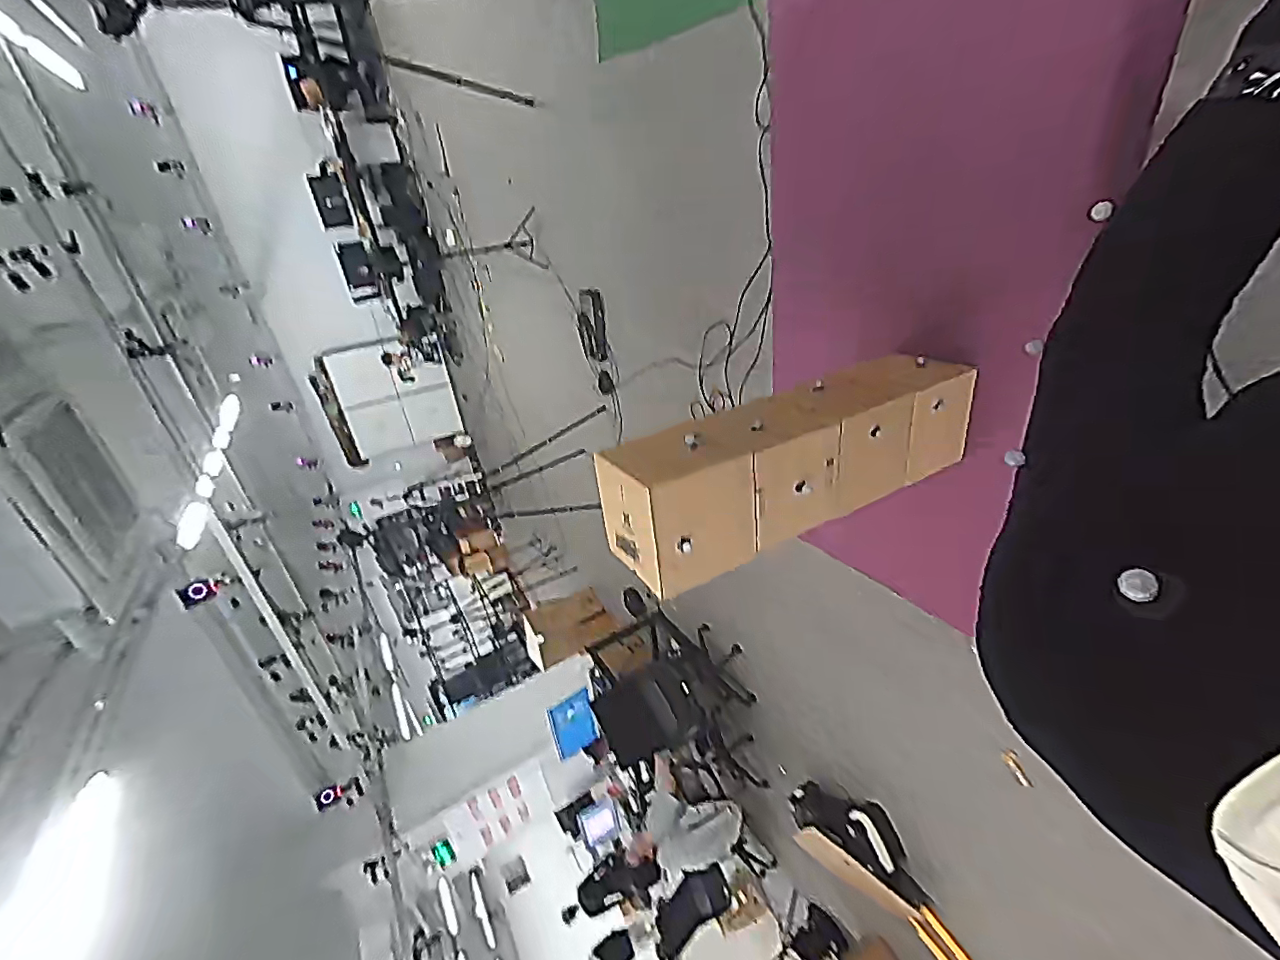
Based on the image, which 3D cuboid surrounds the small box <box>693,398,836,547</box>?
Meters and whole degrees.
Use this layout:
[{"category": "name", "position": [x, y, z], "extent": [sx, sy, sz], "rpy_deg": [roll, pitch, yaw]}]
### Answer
[{"category": "small box", "position": [0.192, -0.023, 0.870], "extent": [0.179, 0.176, 0.168], "rpy_deg": [33, 136, 53]}]

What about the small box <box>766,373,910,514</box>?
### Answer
[{"category": "small box", "position": [0.336, -0.073, 0.931], "extent": [0.168, 0.176, 0.179], "rpy_deg": [35, 139, 53]}]

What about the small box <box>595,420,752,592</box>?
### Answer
[{"category": "small box", "position": [0.053, 0.029, 0.801], "extent": [0.168, 0.176, 0.179], "rpy_deg": [34, 137, 54]}]
